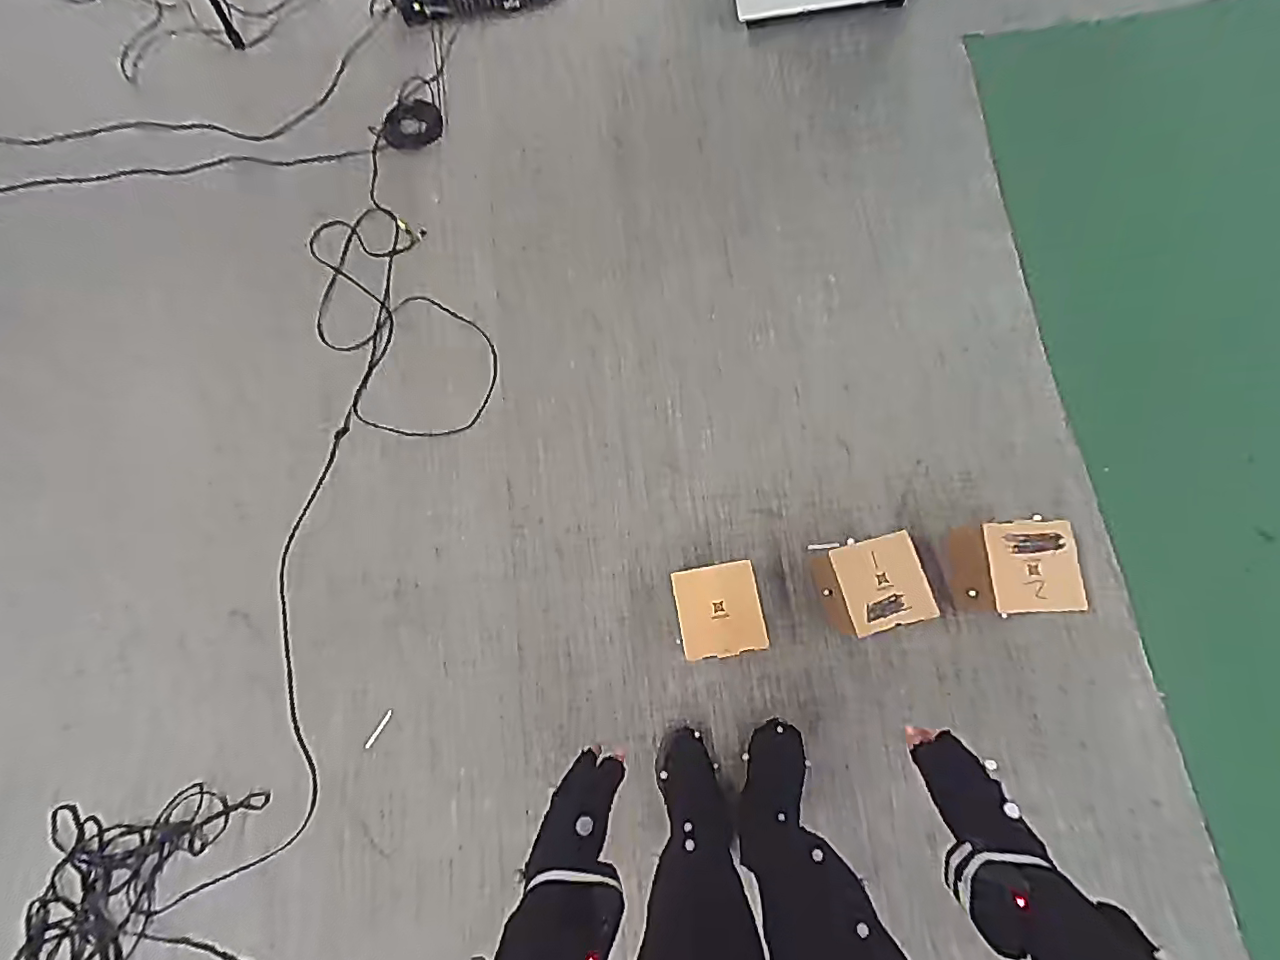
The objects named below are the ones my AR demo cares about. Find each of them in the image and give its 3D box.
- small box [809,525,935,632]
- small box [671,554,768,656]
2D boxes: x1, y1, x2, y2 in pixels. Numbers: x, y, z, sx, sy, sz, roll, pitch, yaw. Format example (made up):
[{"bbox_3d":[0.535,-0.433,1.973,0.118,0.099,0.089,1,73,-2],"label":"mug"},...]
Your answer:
[{"bbox_3d":[0.473,0.208,1.128,0.168,0.176,0.179,-15,75,1],"label":"small box"},{"bbox_3d":[0.160,0.263,1.143,0.168,0.176,0.179,-12,77,3],"label":"small box"}]
